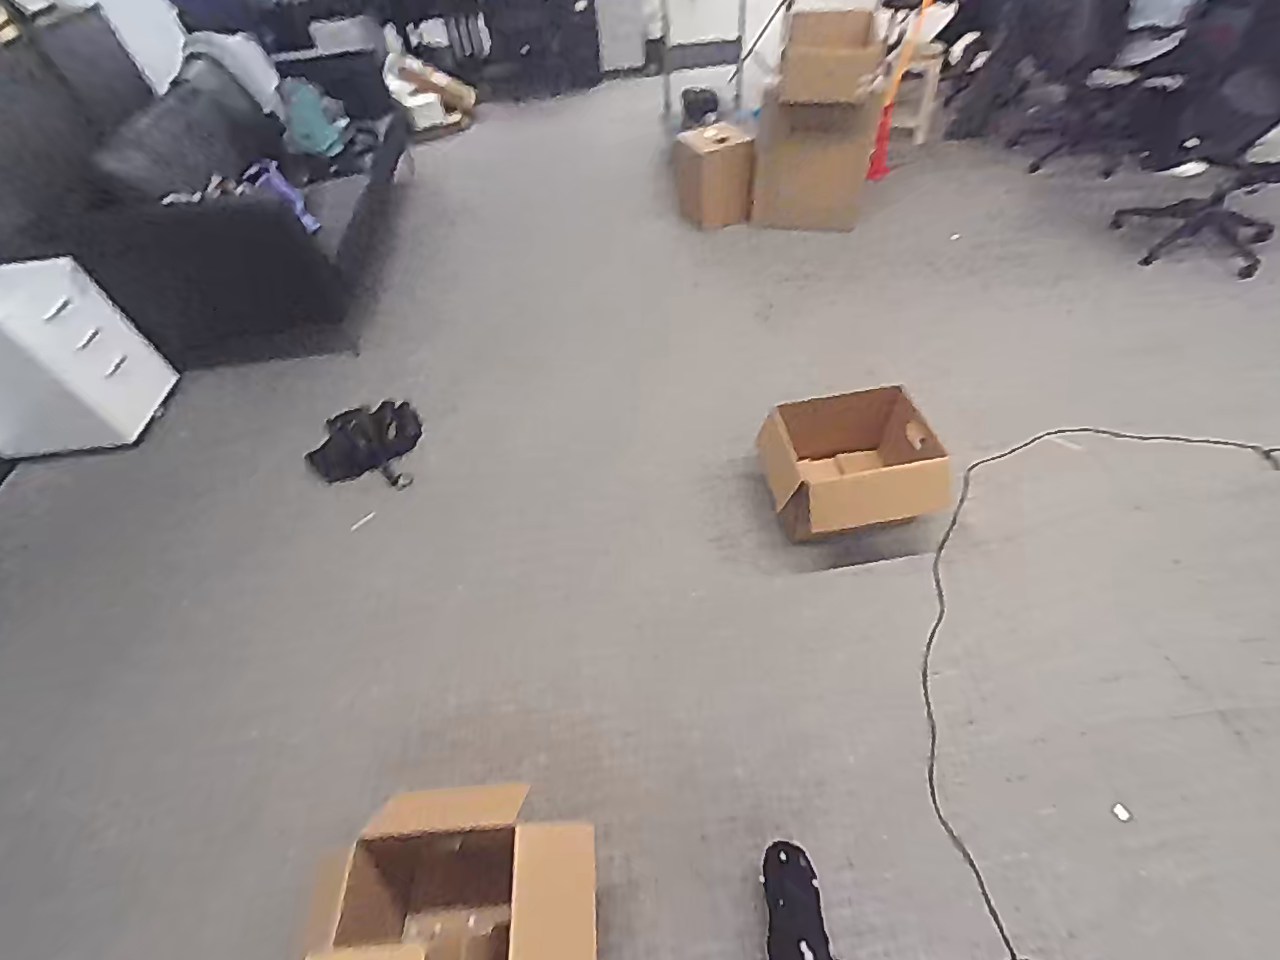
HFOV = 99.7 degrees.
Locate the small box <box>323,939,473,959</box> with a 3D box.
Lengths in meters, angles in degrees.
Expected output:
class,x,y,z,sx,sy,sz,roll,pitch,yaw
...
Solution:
class,x,y,z,sx,sy,sz,roll,pitch,yaw
small box,-0.340,0.758,0.743,0.168,0.176,0.179,-6,52,-1
